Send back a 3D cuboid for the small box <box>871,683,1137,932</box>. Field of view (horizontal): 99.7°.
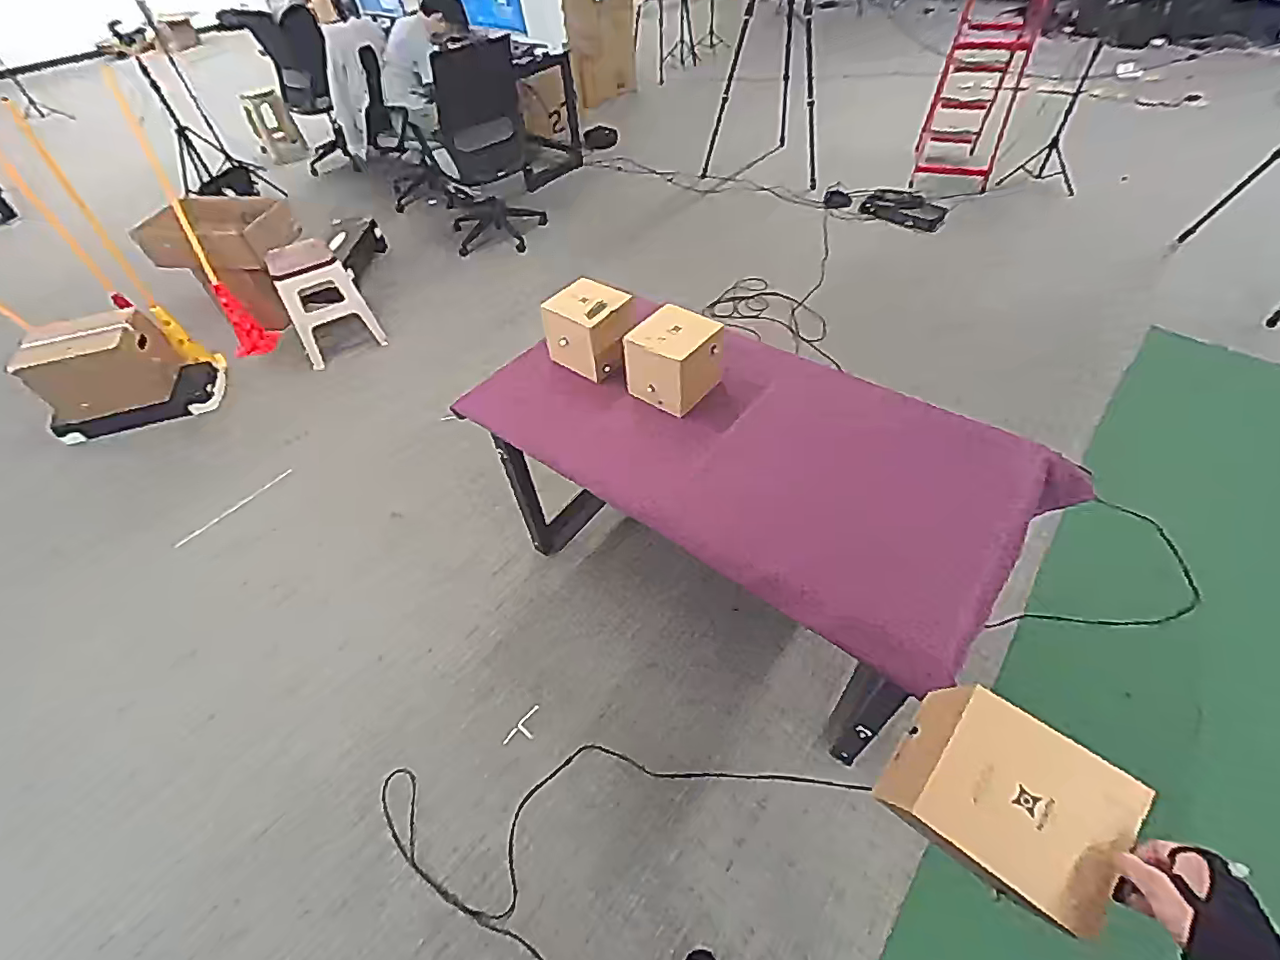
[{"bbox_3d":[0.411,0.365,0.643,0.179,0.176,0.168,33,74,19],"label":"small box"}]

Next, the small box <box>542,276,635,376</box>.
[{"bbox_3d":[-0.123,-0.394,1.398,0.179,0.176,0.168,30,58,27],"label":"small box"}]

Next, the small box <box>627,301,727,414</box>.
[{"bbox_3d":[0.089,-0.292,1.295,0.168,0.176,0.179,31,59,27],"label":"small box"}]
